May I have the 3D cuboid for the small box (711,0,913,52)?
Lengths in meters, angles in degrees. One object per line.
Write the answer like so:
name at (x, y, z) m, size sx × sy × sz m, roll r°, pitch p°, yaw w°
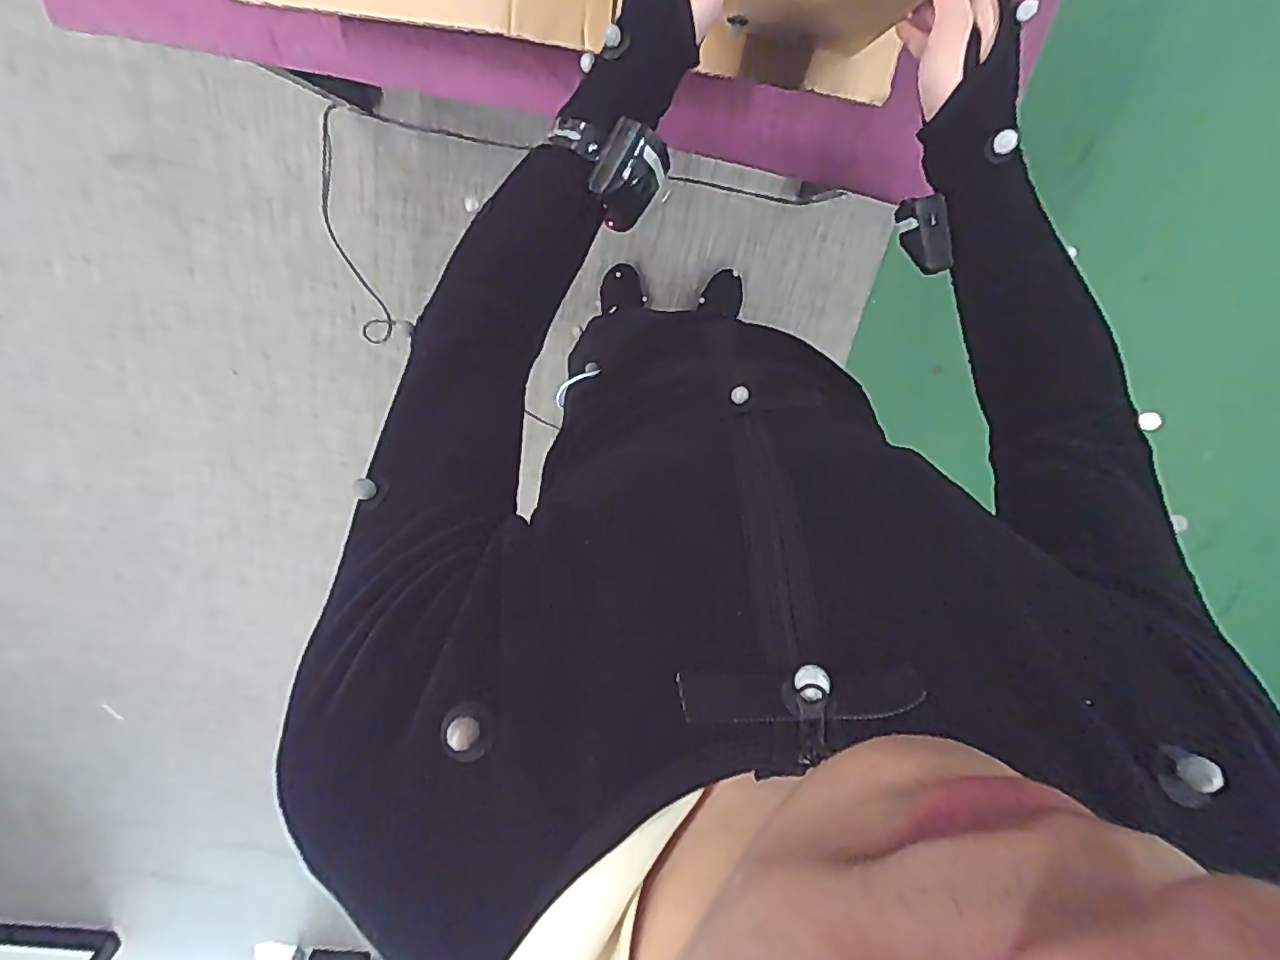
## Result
small box at (0.158, -0.482, 0.433) m, size 0.168 × 0.176 × 0.179 m, roll 6°, pitch 112°, yaw -6°
